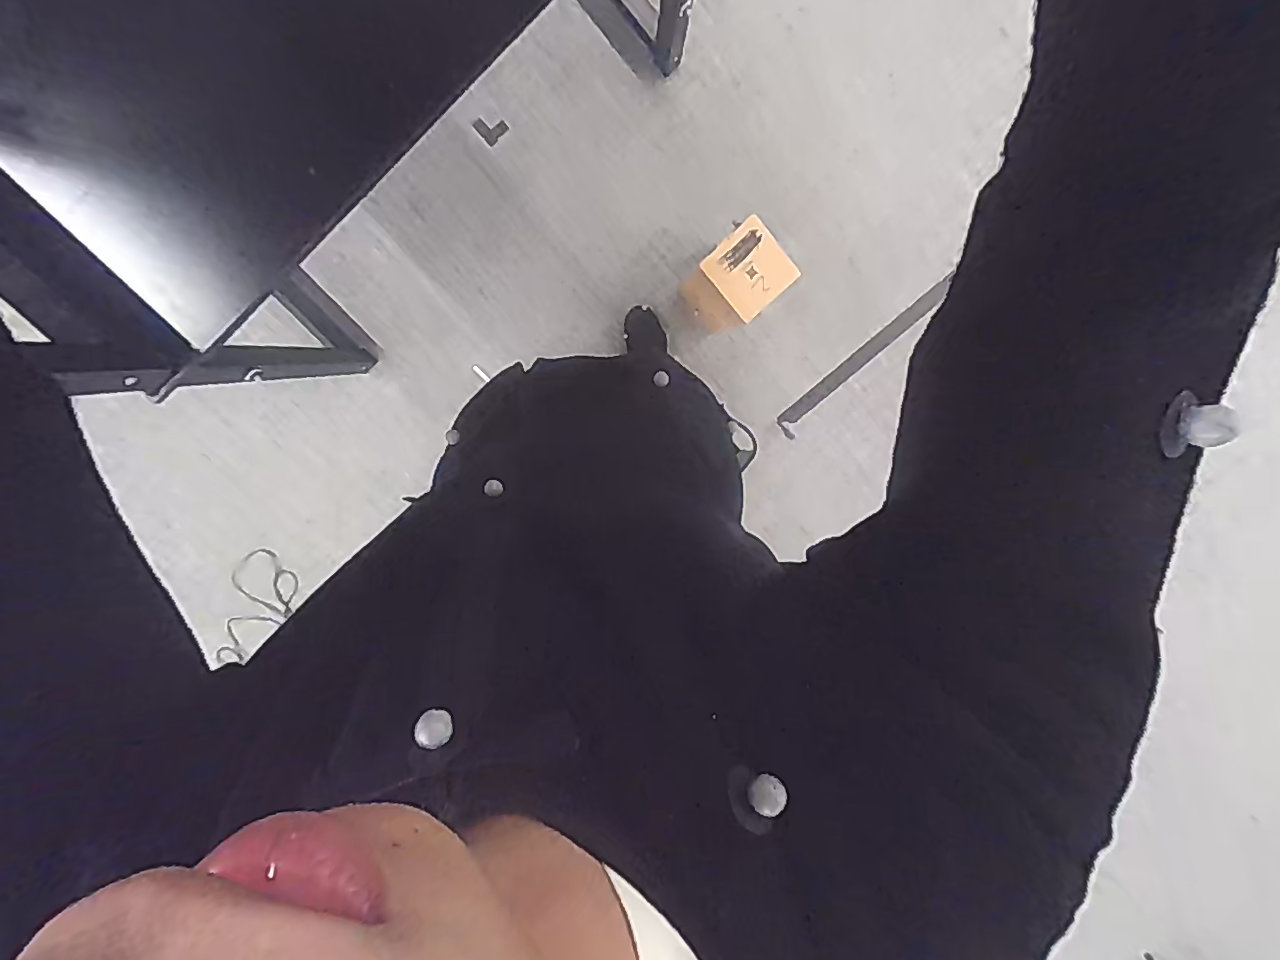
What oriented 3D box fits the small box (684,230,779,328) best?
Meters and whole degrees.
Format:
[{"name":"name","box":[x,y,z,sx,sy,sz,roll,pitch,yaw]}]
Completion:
[{"name":"small box","box":[0.235,-0.527,1.440,0.179,0.176,0.168,-43,101,8]}]
